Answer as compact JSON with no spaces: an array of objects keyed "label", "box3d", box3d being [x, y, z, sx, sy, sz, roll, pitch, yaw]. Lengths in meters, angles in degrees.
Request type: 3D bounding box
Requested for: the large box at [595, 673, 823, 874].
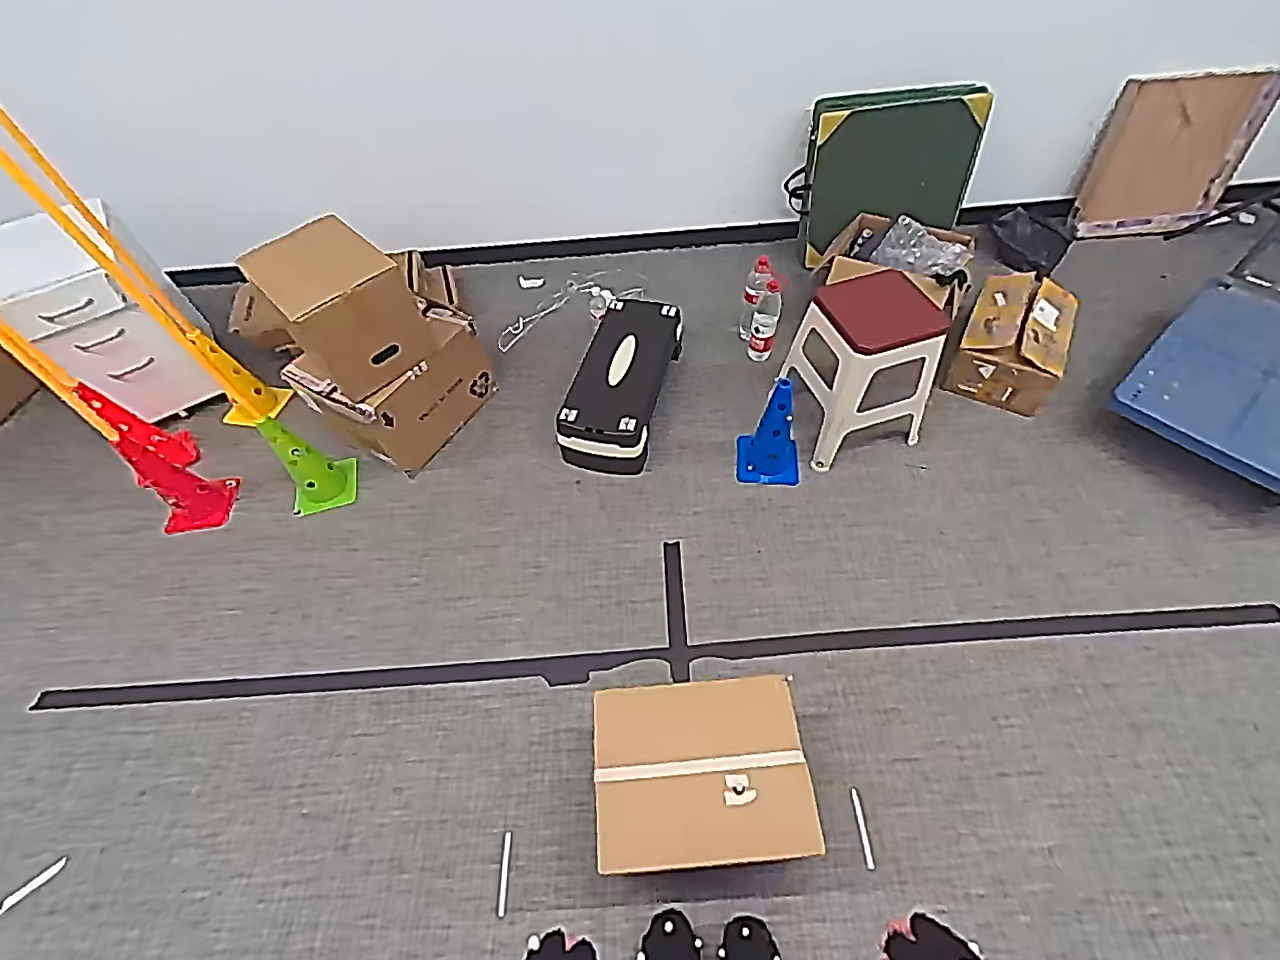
[{"label":"large box","box3d":[0.120,0.633,1.159,0.408,0.320,0.320,-5,55,-1]}]
